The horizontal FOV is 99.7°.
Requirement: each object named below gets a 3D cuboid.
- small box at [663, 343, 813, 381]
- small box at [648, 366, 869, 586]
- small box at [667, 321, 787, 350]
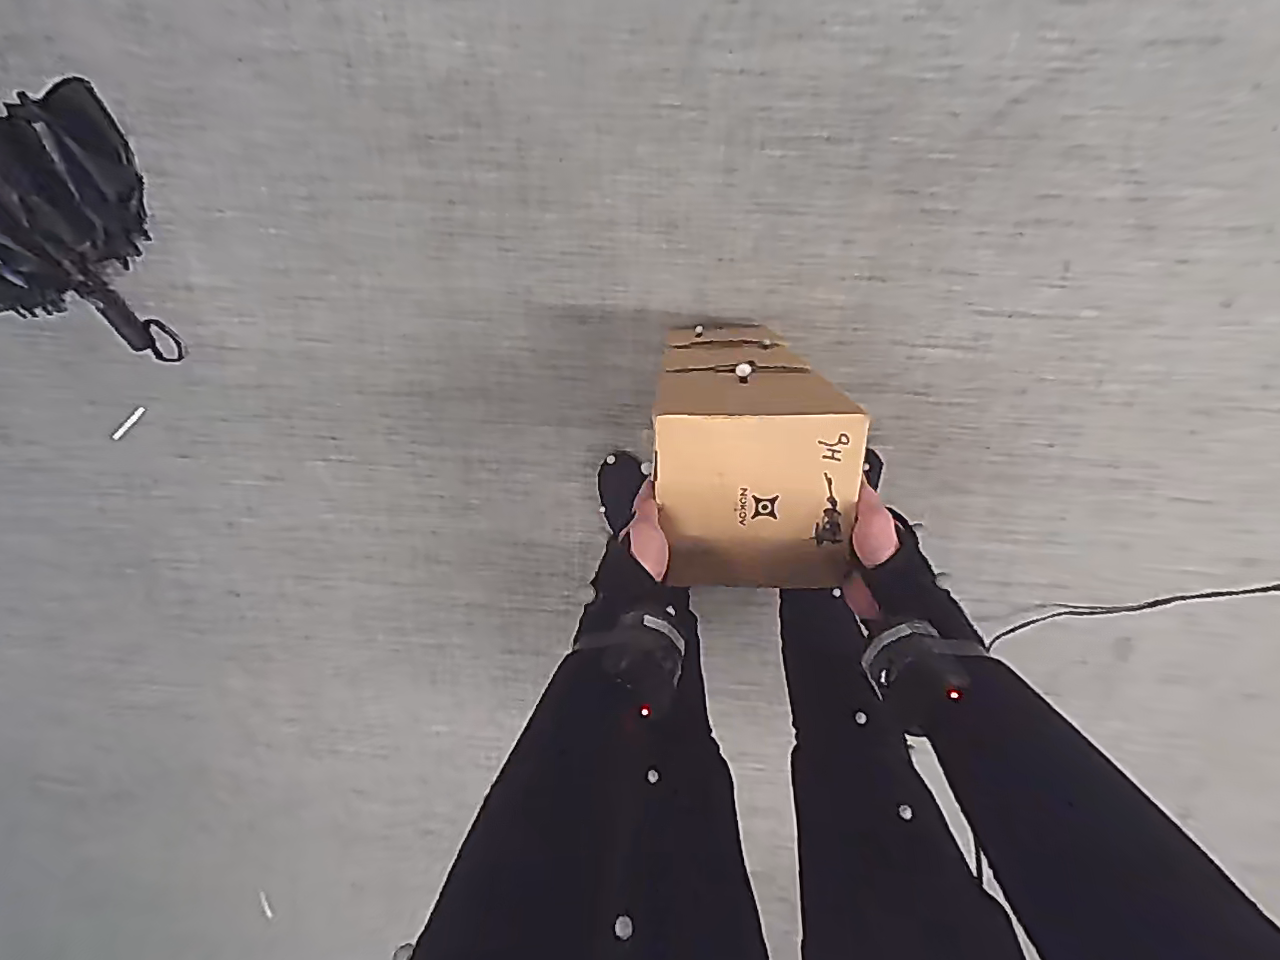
[{"bbox_3d":[0.111,-0.078,0.693,0.168,0.176,0.179,1,113,4],"label":"small box"},{"bbox_3d":[0.101,-0.014,0.540,0.179,0.176,0.168,2,115,3],"label":"small box"},{"bbox_3d":[0.124,-0.149,0.841,0.168,0.176,0.179,1,115,5],"label":"small box"}]
